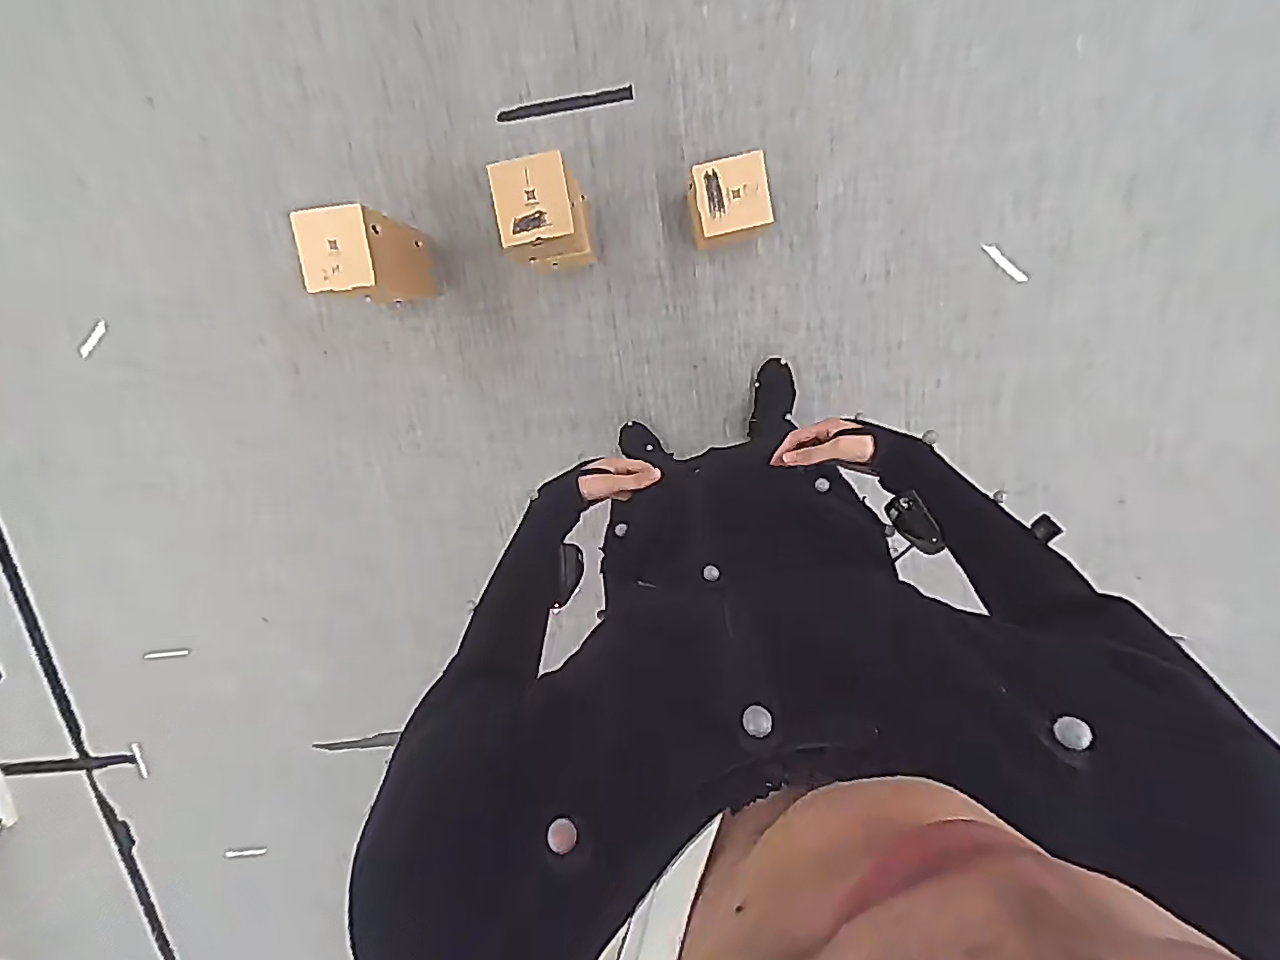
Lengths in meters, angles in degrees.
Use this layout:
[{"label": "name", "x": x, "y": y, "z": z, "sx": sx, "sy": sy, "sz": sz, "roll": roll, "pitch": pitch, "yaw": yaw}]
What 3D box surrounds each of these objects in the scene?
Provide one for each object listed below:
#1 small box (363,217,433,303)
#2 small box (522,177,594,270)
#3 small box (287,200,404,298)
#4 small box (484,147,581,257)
[{"label": "small box", "x": -0.670, "y": -0.576, "z": 1.431, "sx": 0.168, "sy": 0.176, "sz": 0.179, "roll": -4, "pitch": 102, "yaw": 3}, {"label": "small box", "x": -0.221, "y": -0.654, "z": 1.402, "sx": 0.168, "sy": 0.176, "sz": 0.179, "roll": -9, "pitch": 101, "yaw": 4}, {"label": "small box", "x": -0.682, "y": -0.536, "z": 1.272, "sx": 0.168, "sy": 0.176, "sz": 0.179, "roll": -4, "pitch": 103, "yaw": 4}, {"label": "small box", "x": -0.238, "y": -0.624, "z": 1.241, "sx": 0.168, "sy": 0.176, "sz": 0.179, "roll": -9, "pitch": 100, "yaw": 4}]
